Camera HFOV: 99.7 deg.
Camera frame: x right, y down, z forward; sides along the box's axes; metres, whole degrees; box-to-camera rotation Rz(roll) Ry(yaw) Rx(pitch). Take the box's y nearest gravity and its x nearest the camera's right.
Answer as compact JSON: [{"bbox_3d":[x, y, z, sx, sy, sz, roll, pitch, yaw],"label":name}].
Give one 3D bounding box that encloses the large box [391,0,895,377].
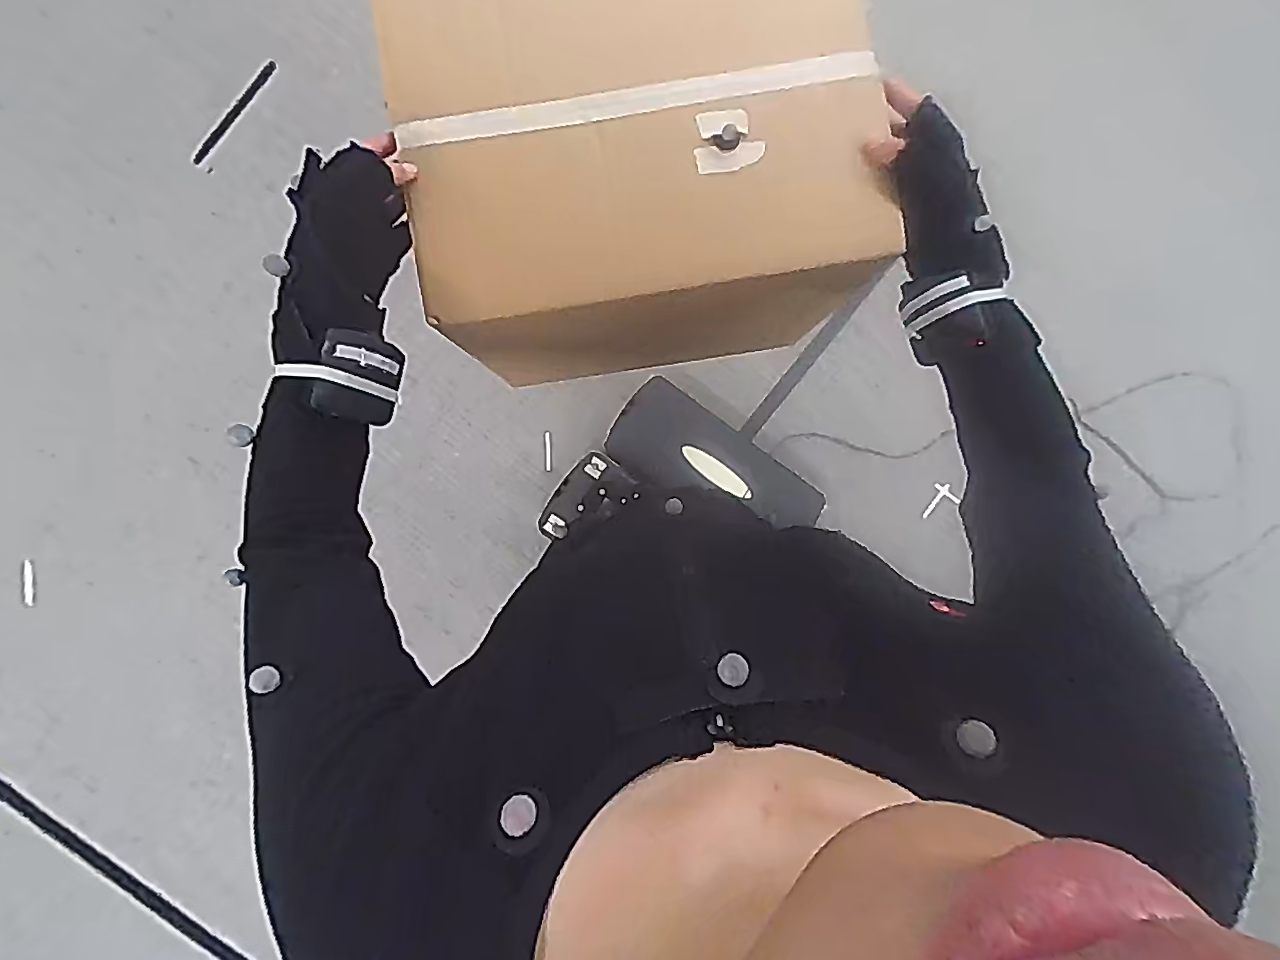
[{"bbox_3d":[-0.002,-0.322,0.610,0.408,0.320,0.320,-9,91,-2],"label":"large box"}]
